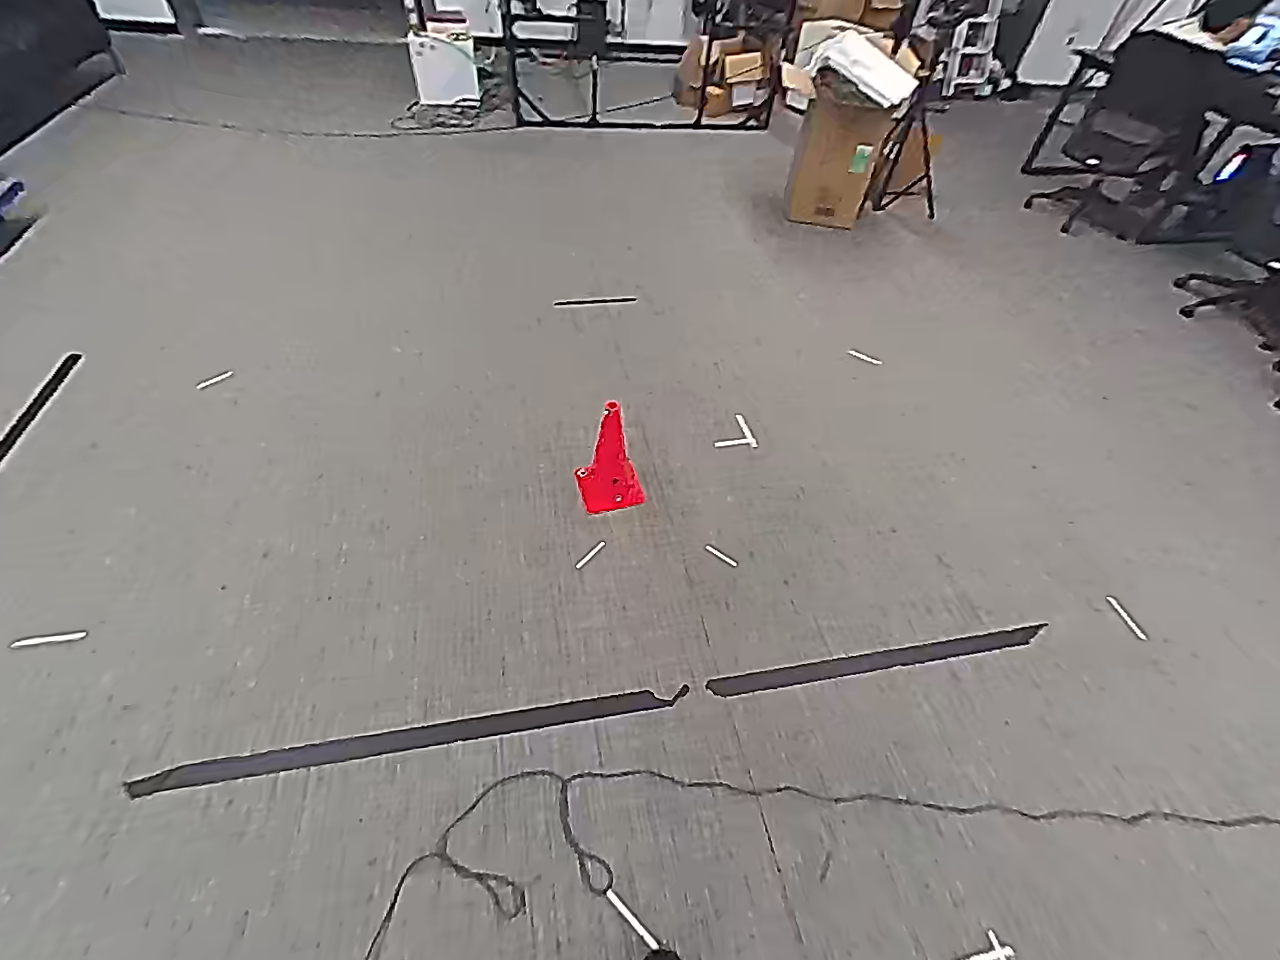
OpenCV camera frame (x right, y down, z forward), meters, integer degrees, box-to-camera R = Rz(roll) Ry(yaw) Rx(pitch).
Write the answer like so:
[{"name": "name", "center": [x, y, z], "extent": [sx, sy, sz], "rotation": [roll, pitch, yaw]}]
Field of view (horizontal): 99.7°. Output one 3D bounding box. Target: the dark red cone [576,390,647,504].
[{"name": "dark red cone", "center": [-0.082, -0.113, 1.645], "extent": [0.202, 0.394, 0.201], "rotation": [-12, 52, -15]}]
